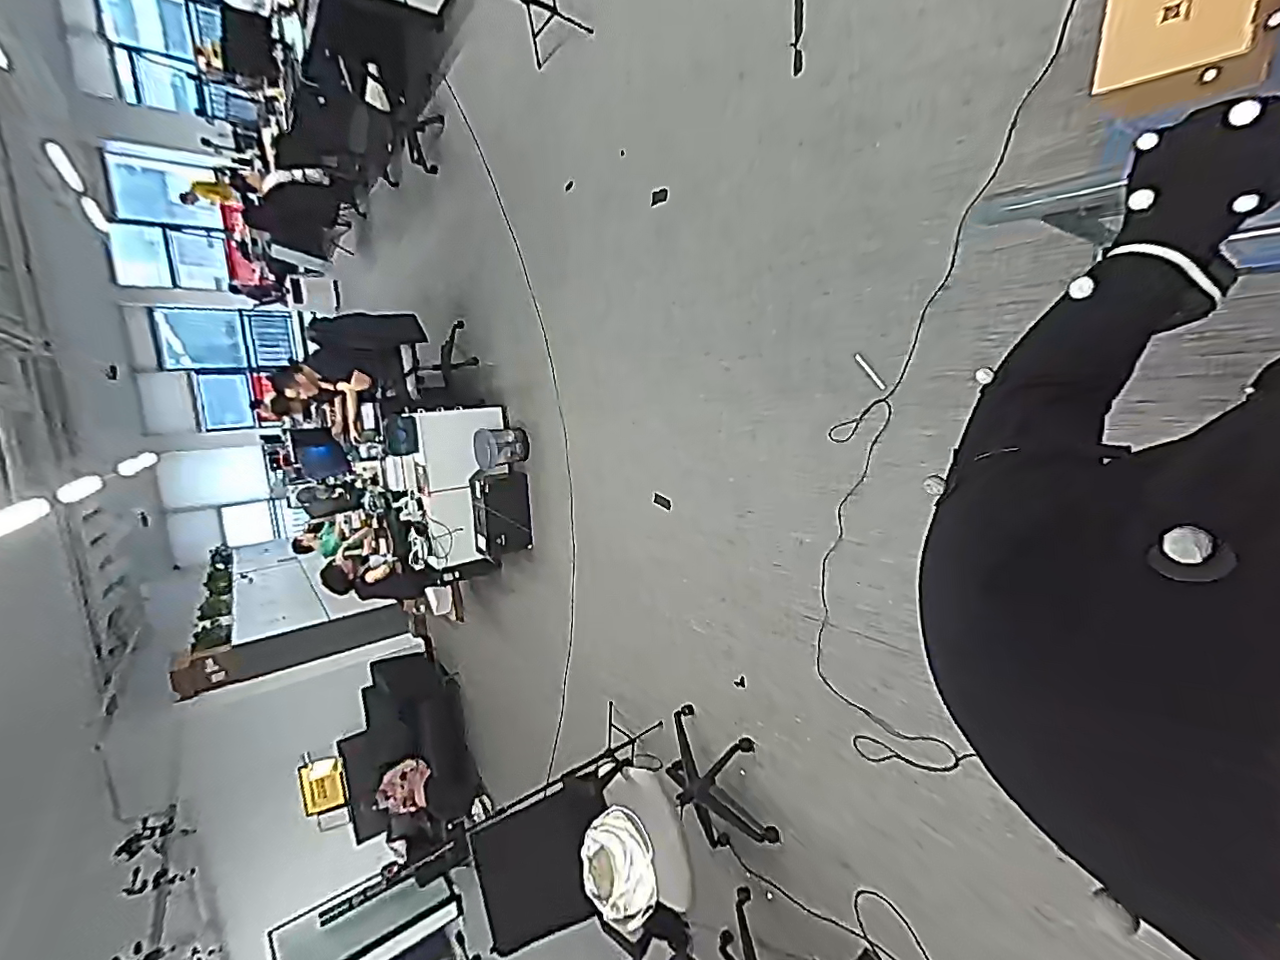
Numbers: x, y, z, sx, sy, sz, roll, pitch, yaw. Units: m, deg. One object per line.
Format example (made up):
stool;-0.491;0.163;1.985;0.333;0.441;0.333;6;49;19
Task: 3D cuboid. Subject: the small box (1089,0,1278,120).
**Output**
small box;0.846;-0.694;0.842;0.179;0.176;0.168;15;110;49
